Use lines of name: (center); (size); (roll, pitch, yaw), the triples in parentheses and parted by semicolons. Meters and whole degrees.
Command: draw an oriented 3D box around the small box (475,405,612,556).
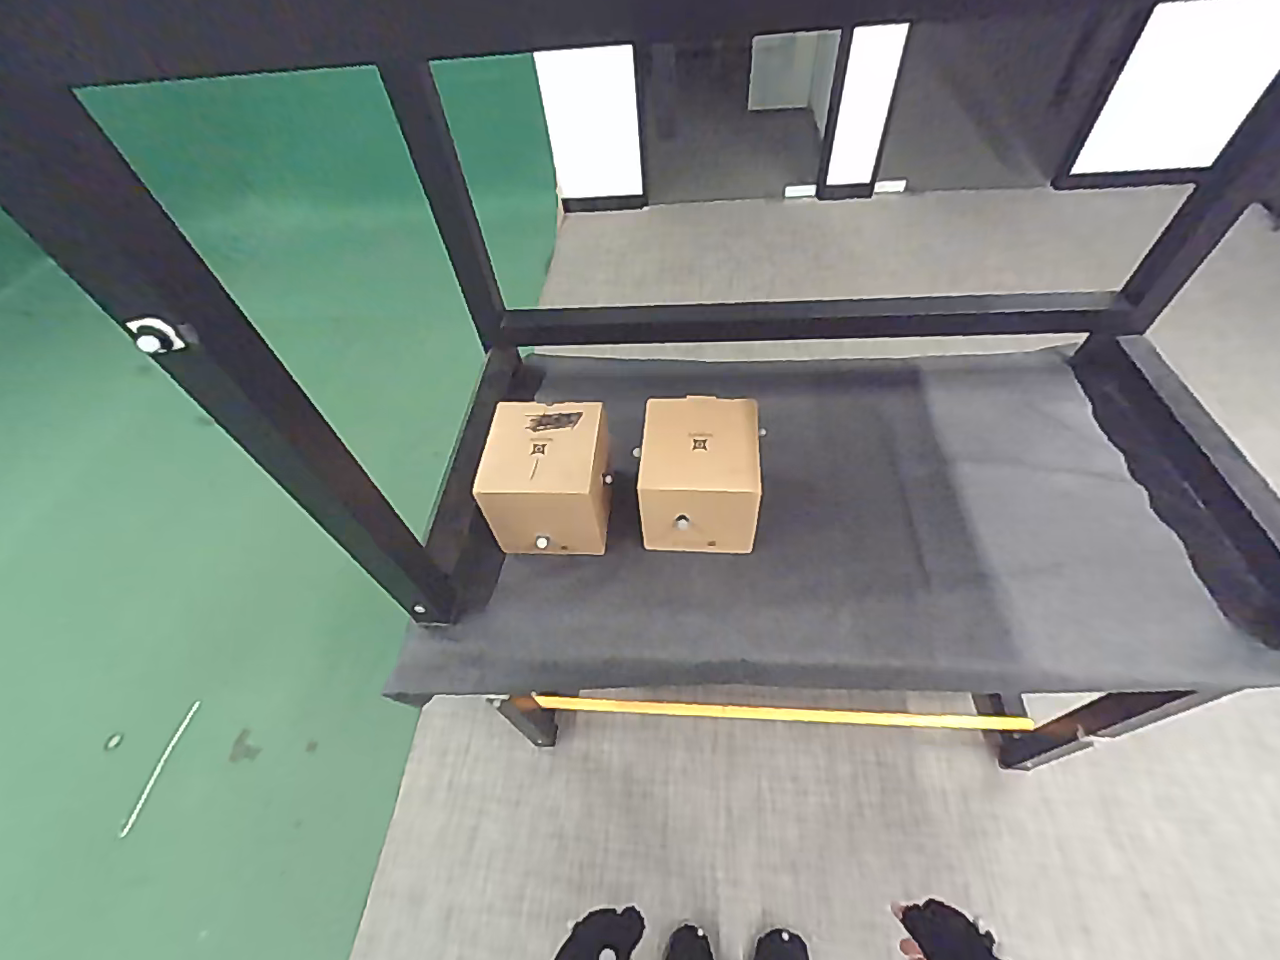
small box: (-0.138, 0.001, 0.853); (0.168, 0.176, 0.179); (1, 53, 5)

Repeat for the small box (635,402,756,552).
small box: (0.088, -0.002, 0.838); (0.168, 0.176, 0.179); (1, 52, 6)
